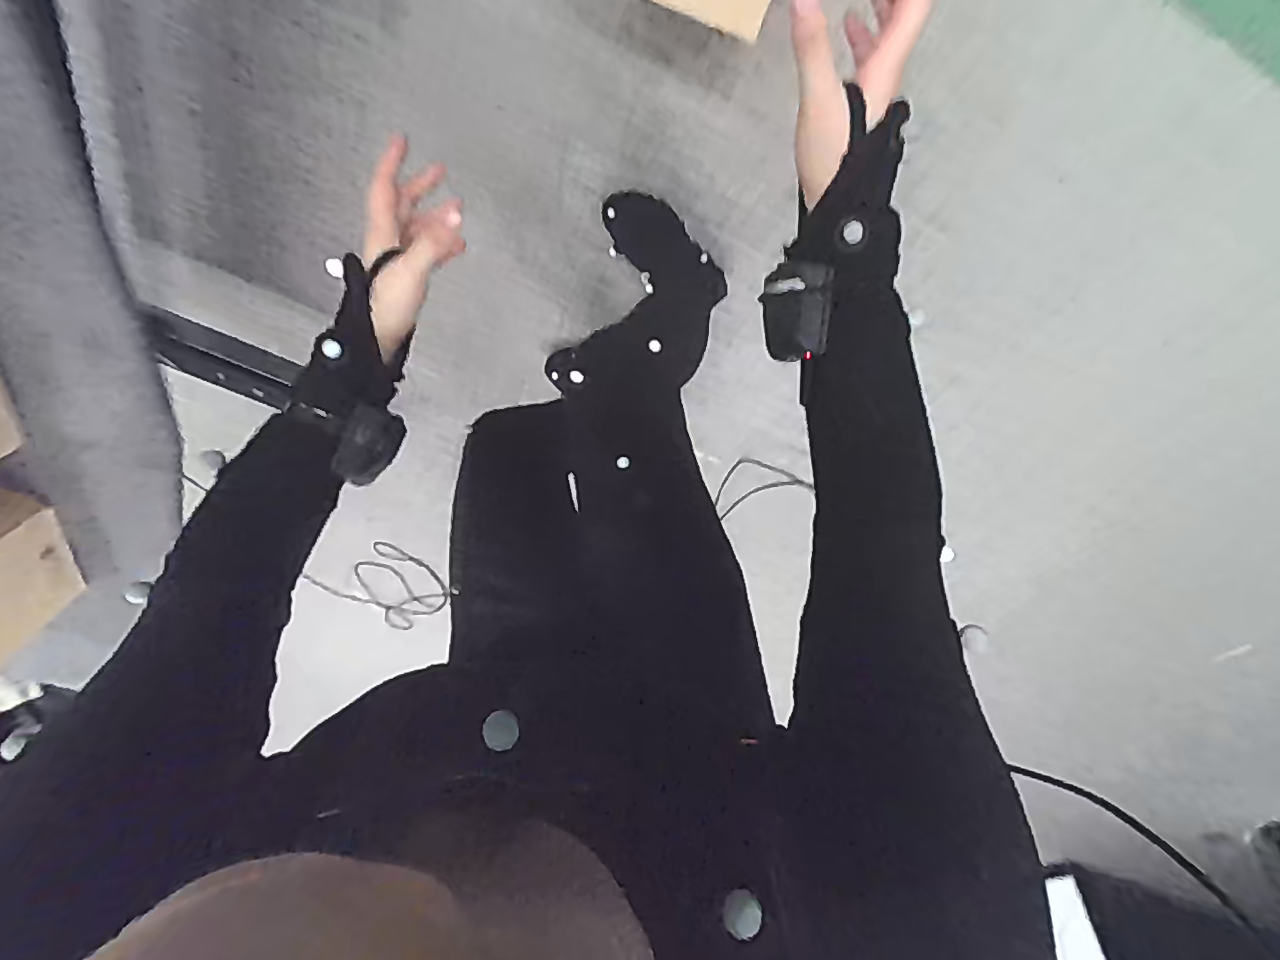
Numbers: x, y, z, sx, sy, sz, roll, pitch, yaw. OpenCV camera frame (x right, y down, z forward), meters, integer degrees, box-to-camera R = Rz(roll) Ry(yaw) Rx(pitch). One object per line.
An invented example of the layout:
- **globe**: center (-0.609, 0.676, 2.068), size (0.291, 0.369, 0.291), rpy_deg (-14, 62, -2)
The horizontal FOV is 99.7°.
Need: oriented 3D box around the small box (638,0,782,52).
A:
- **small box**: center (0.102, -0.664, 0.664), size (0.179, 0.176, 0.168), rpy_deg (17, 131, -7)
